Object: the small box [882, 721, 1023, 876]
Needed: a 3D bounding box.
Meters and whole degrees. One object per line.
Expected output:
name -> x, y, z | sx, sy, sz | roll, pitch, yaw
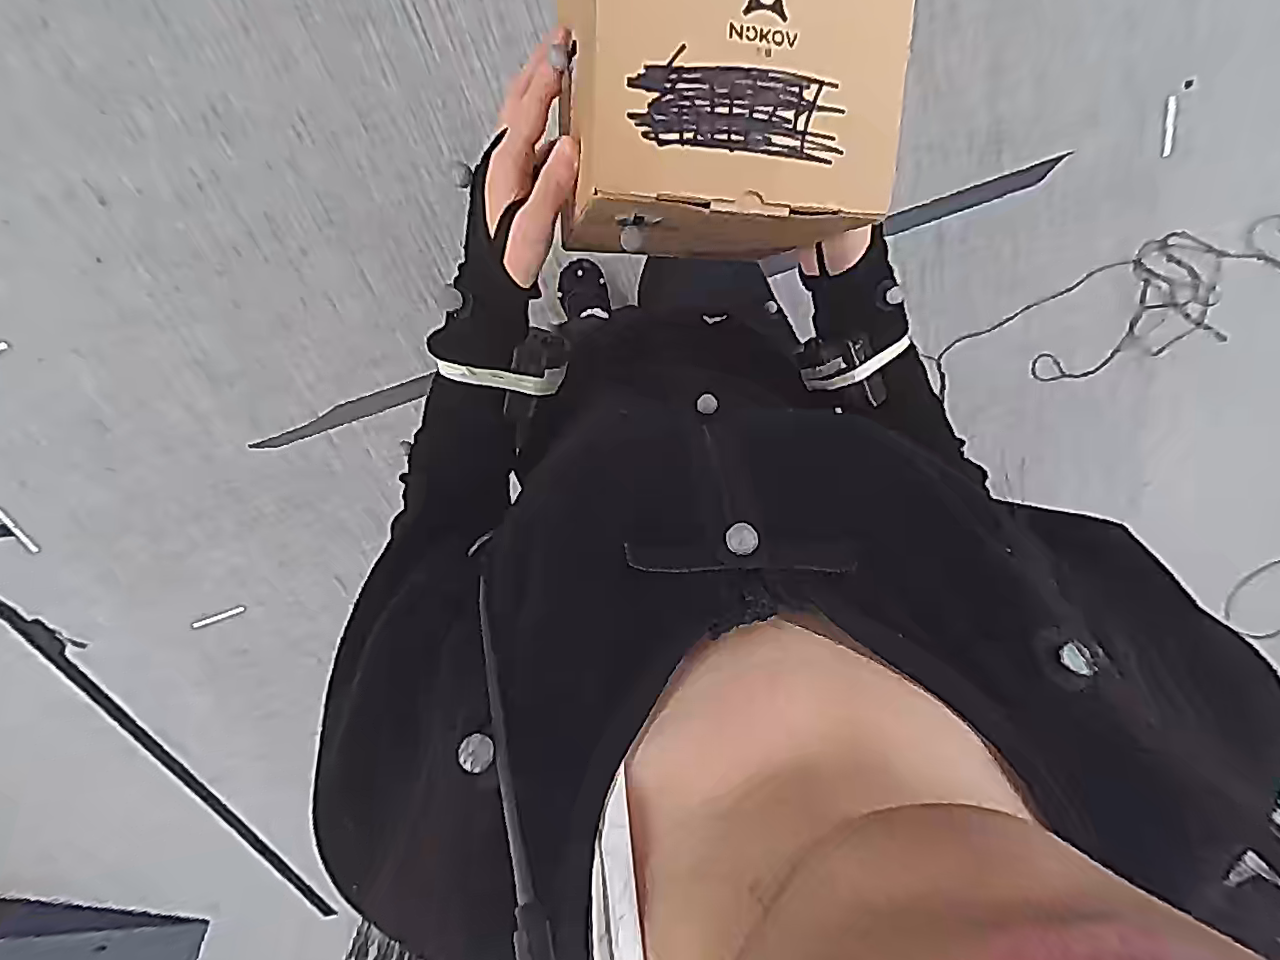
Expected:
small box -> 0.578, 0.584, 1.016 | 0.168, 0.176, 0.179 | -19, 115, -1
